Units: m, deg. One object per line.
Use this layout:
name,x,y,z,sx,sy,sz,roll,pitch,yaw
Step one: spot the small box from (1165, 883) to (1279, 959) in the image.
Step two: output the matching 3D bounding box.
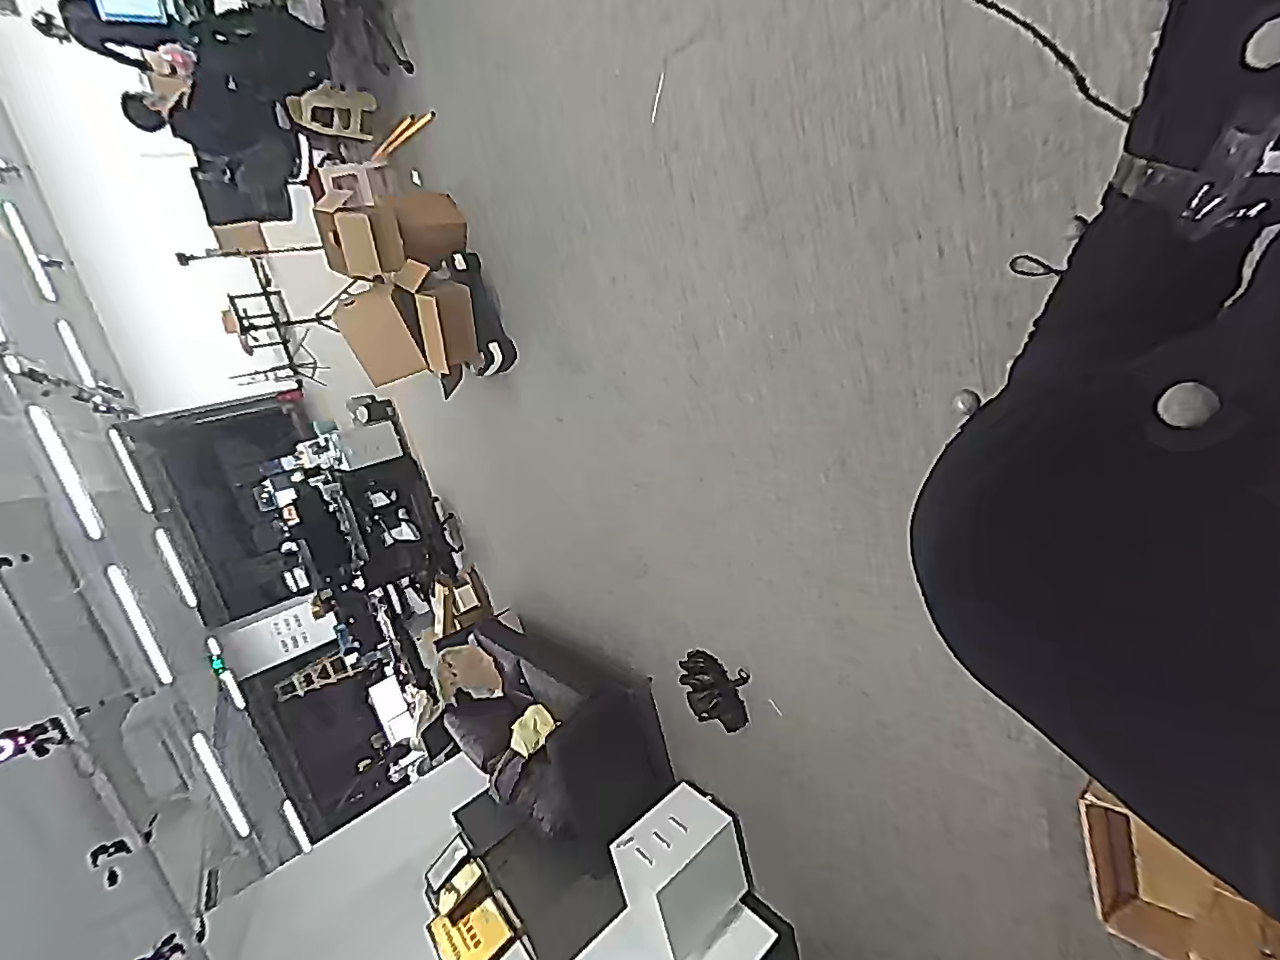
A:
small box,1.165,0.942,1.052,0.179,0.176,0.168,-1,108,53

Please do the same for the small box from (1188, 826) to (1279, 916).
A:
small box,1.290,0.888,1.143,0.168,0.176,0.179,2,112,54
